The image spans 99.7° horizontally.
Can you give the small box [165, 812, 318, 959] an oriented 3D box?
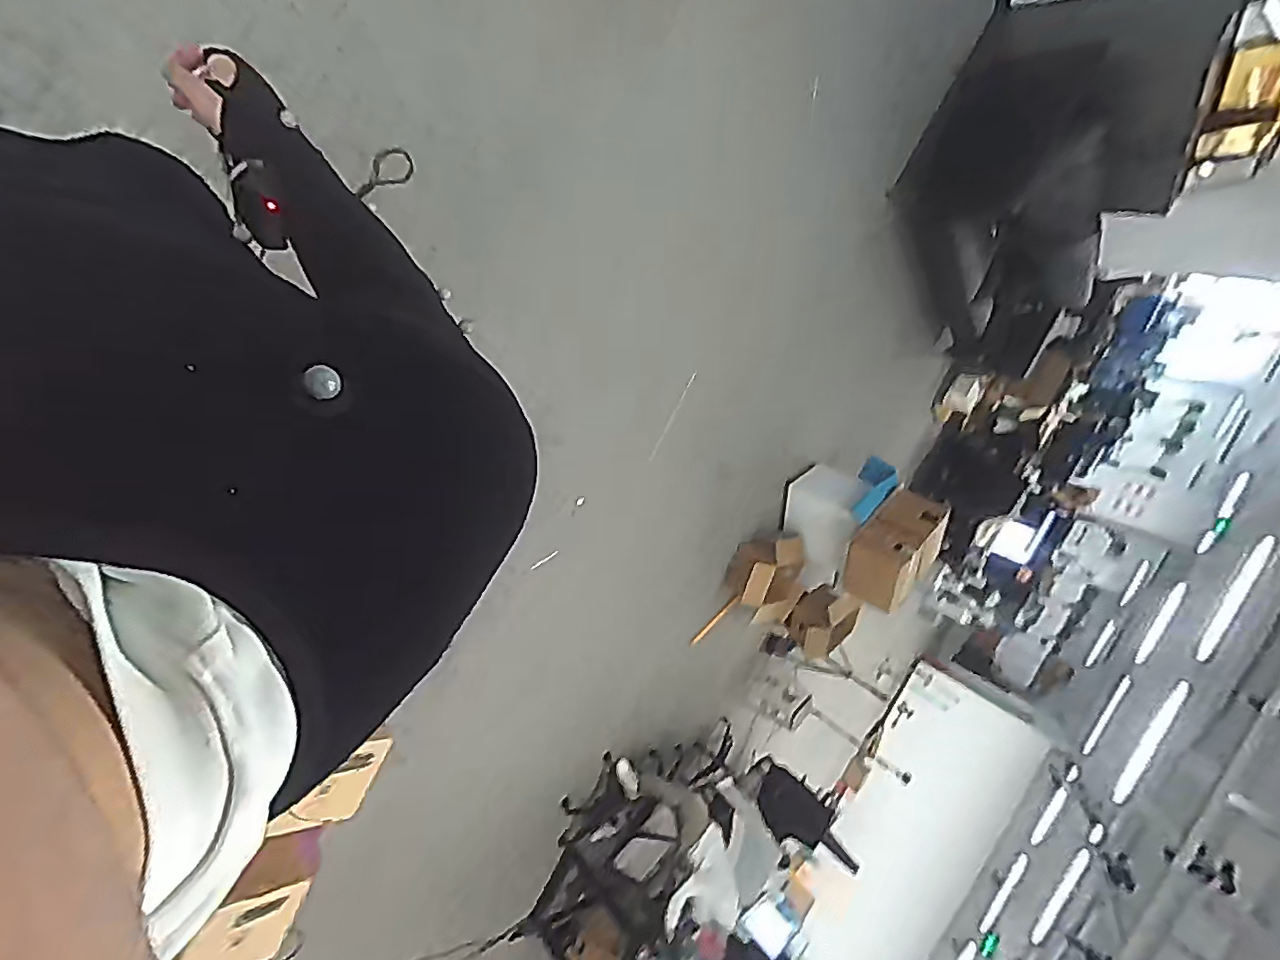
[{"bbox_3d":[-0.726,0.741,0.981,0.168,0.176,0.179,21,97,-50],"label":"small box"}]
